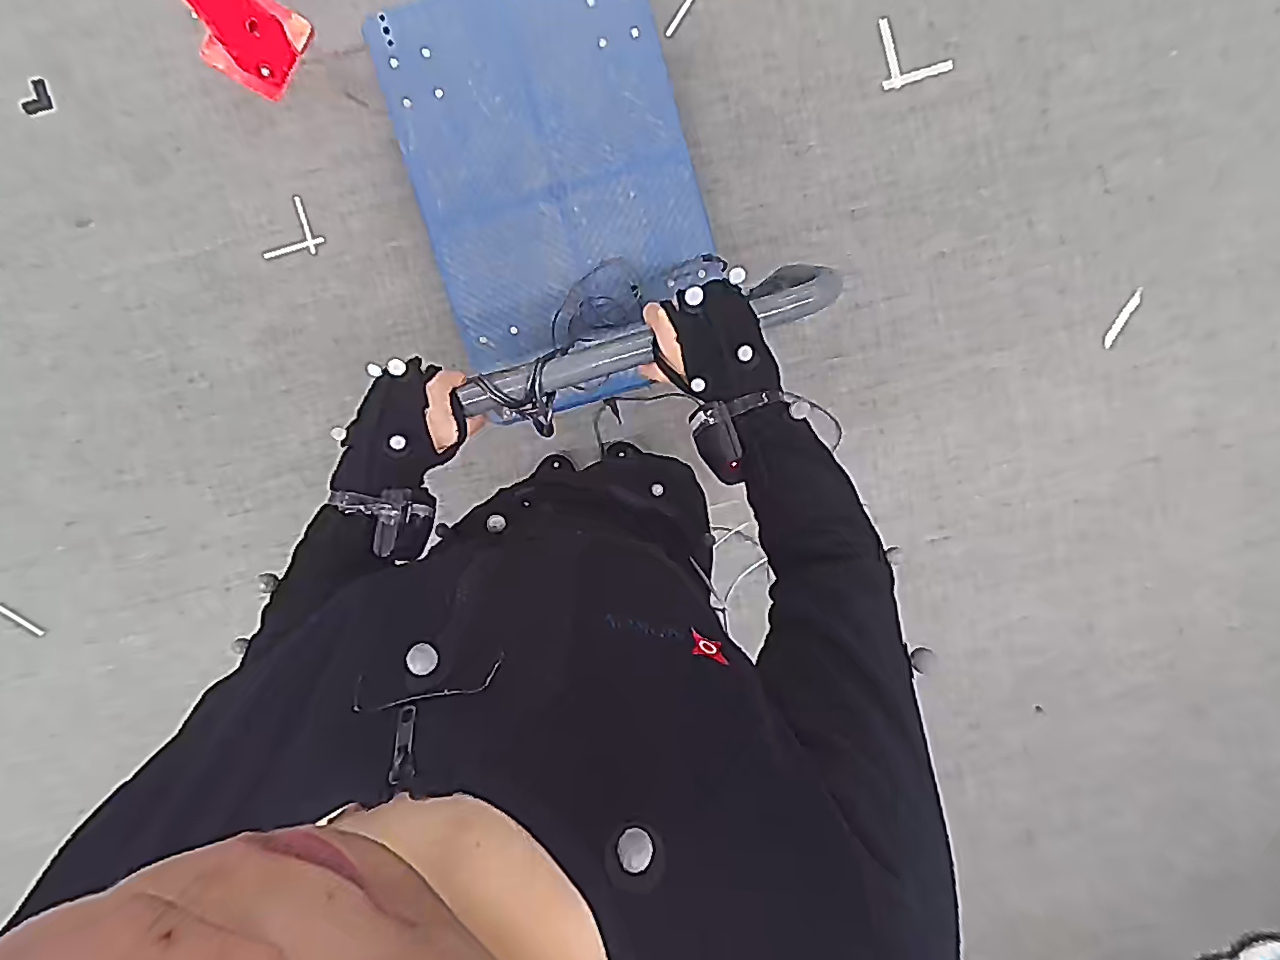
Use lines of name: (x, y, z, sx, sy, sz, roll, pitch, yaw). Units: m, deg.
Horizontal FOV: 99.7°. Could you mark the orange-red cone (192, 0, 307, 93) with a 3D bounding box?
orange-red cone: (-0.879, -1.003, 1.065, 0.198, 0.360, 0.199, 31, 93, -5)
